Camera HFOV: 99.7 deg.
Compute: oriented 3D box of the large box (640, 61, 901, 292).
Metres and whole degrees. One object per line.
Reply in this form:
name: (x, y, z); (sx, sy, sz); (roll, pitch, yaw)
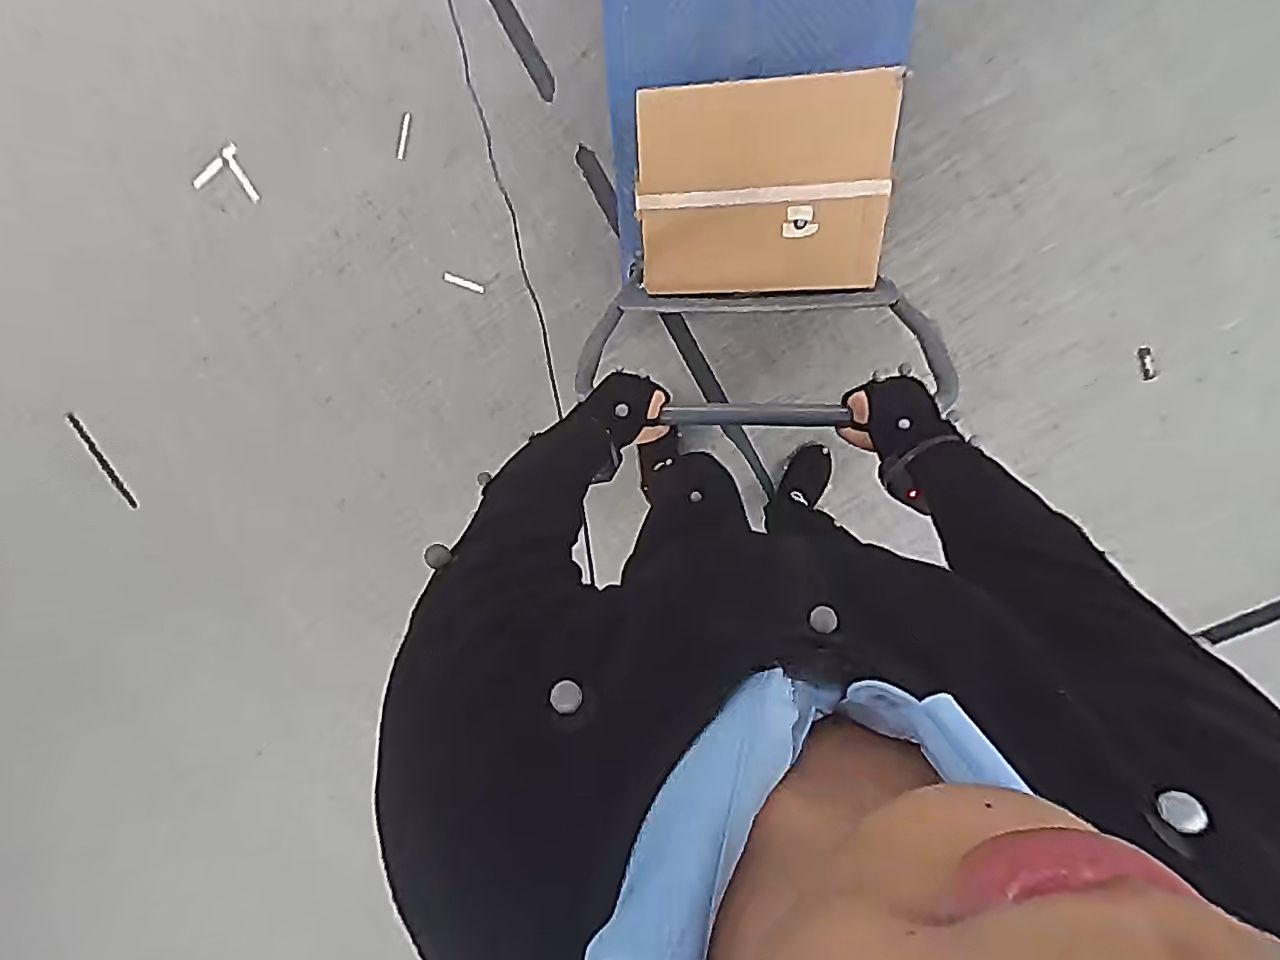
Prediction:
large box: (0.225, -0.559, 1.036); (0.408, 0.320, 0.320); (0, 119, 8)
